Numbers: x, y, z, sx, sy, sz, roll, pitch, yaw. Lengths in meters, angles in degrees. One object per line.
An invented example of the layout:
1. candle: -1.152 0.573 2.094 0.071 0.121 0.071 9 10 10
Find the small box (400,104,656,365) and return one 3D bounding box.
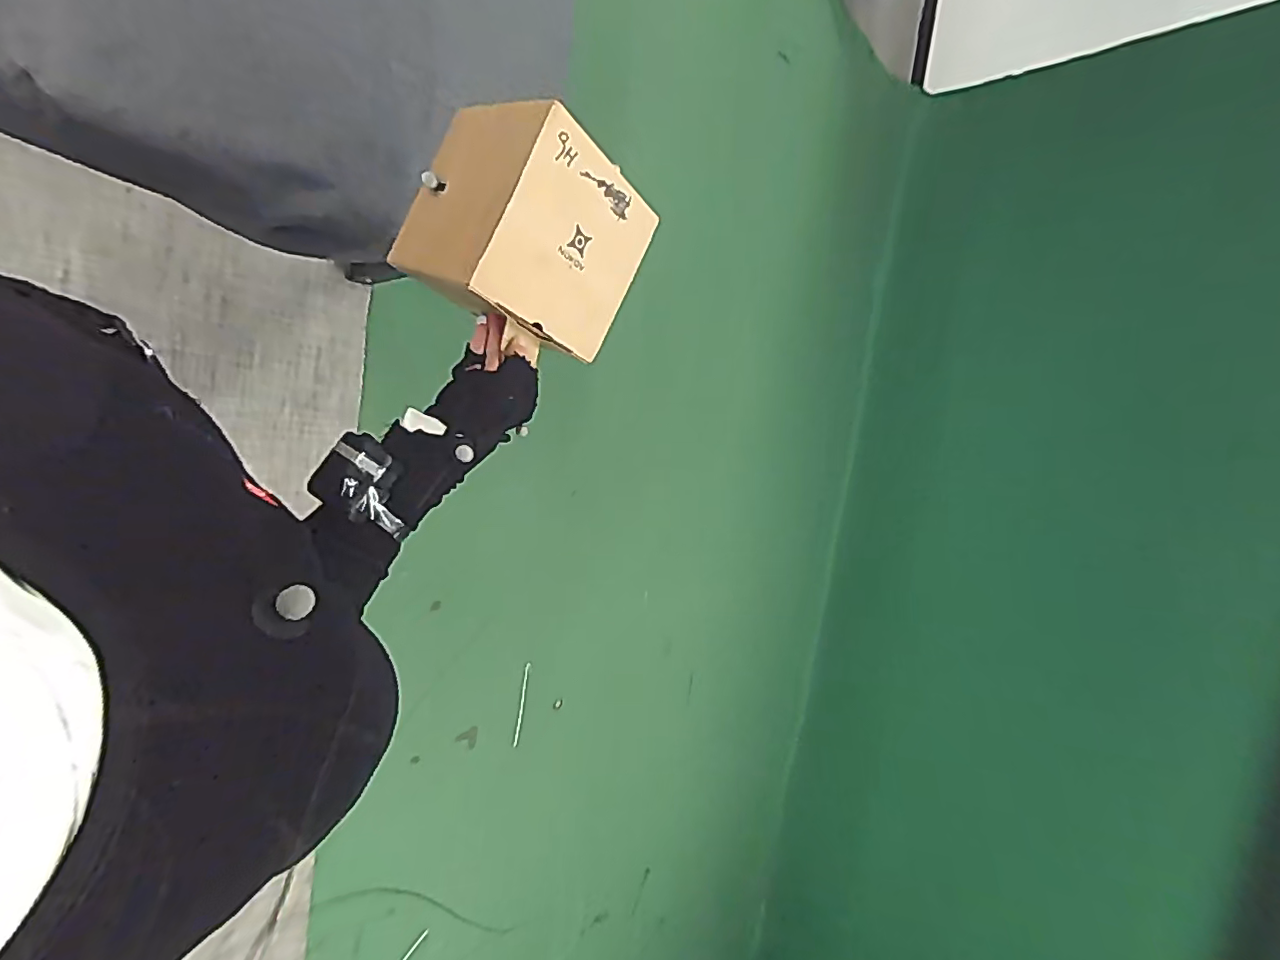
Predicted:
1. small box: -0.122 -0.251 0.568 0.168 0.176 0.179 23 95 -54
